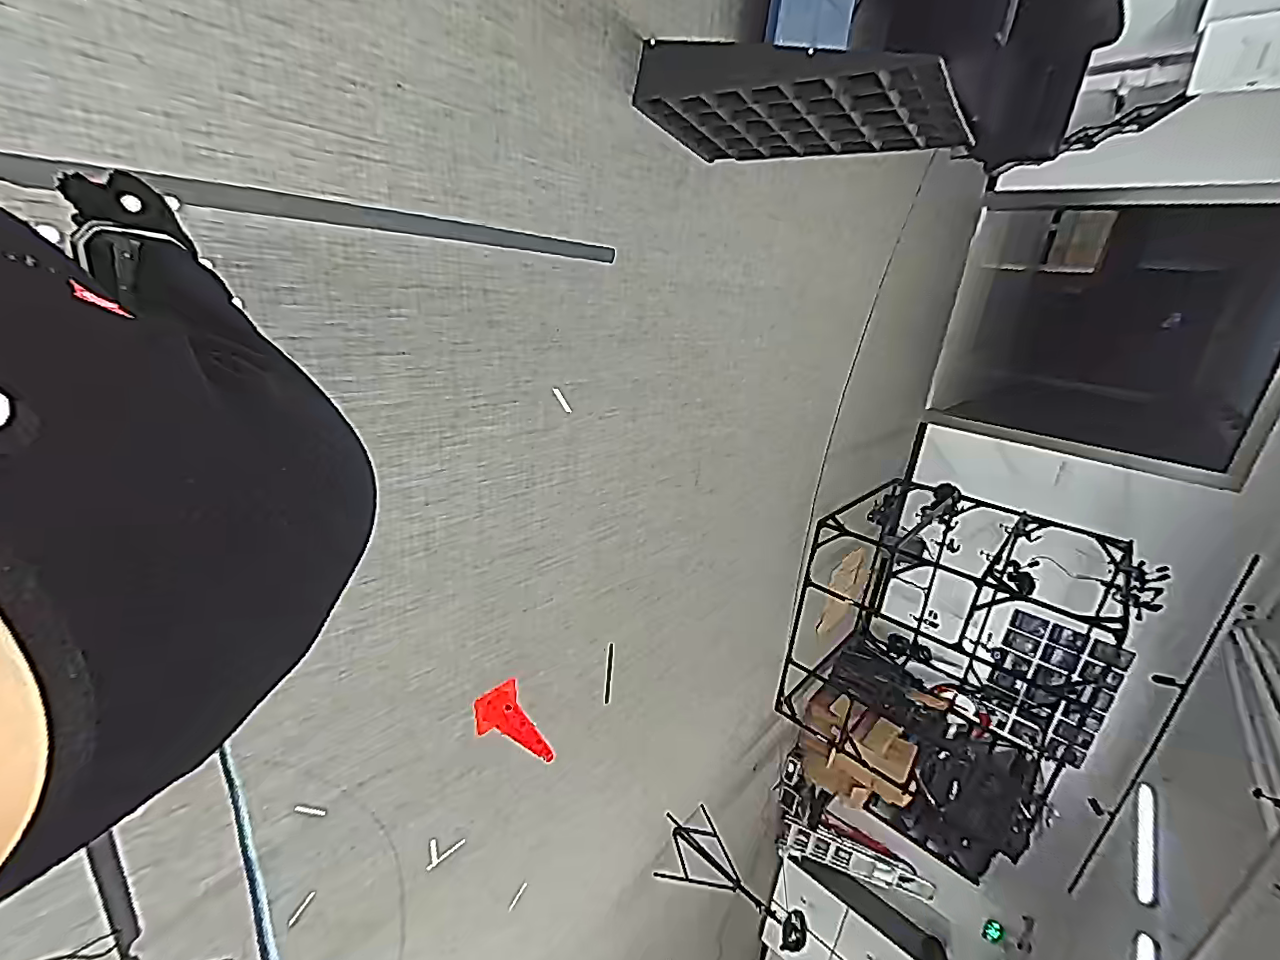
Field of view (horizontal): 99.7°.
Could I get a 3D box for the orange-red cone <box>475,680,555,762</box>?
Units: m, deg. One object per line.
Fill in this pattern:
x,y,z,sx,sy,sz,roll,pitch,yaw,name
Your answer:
-0.462,0.988,2.120,0.198,0.360,0.199,-21,122,-45,orange-red cone
